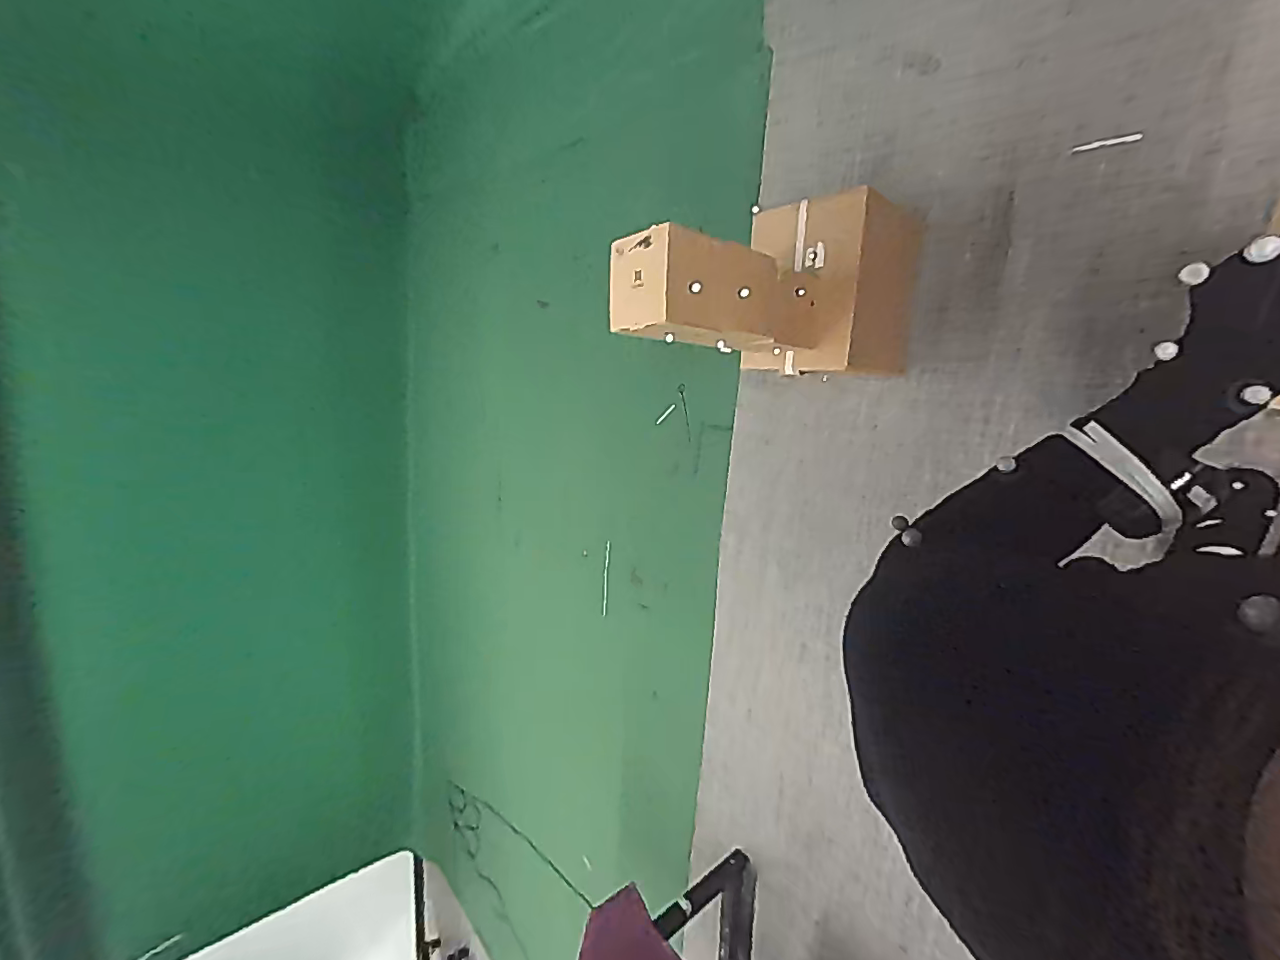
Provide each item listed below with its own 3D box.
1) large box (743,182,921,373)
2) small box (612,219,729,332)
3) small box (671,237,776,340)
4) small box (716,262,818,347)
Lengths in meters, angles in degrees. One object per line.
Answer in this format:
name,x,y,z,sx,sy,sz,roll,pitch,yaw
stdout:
large box,0.501,-0.495,1.427,0.320,0.320,0.408,14,104,47
small box,0.060,-0.391,1.070,0.168,0.176,0.179,9,102,47
small box,0.182,-0.405,1.180,0.168,0.176,0.179,6,98,47
small box,0.304,-0.410,1.290,0.179,0.176,0.168,13,103,48
